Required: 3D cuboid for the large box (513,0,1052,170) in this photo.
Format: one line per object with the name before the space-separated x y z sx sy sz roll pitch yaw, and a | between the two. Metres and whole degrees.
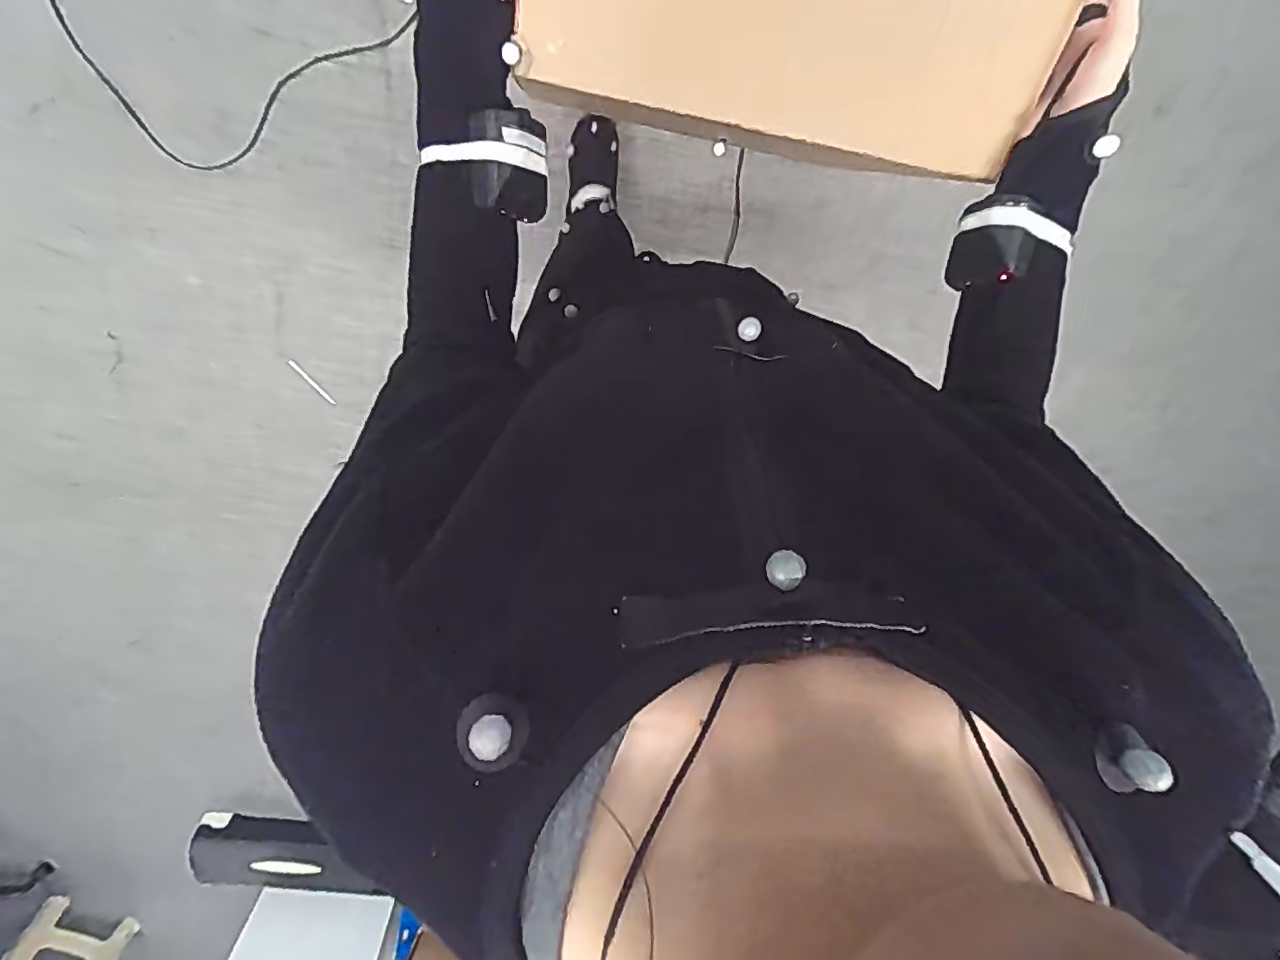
large box | 0.107 -0.486 0.477 0.408 0.320 0.320 4 120 -11
